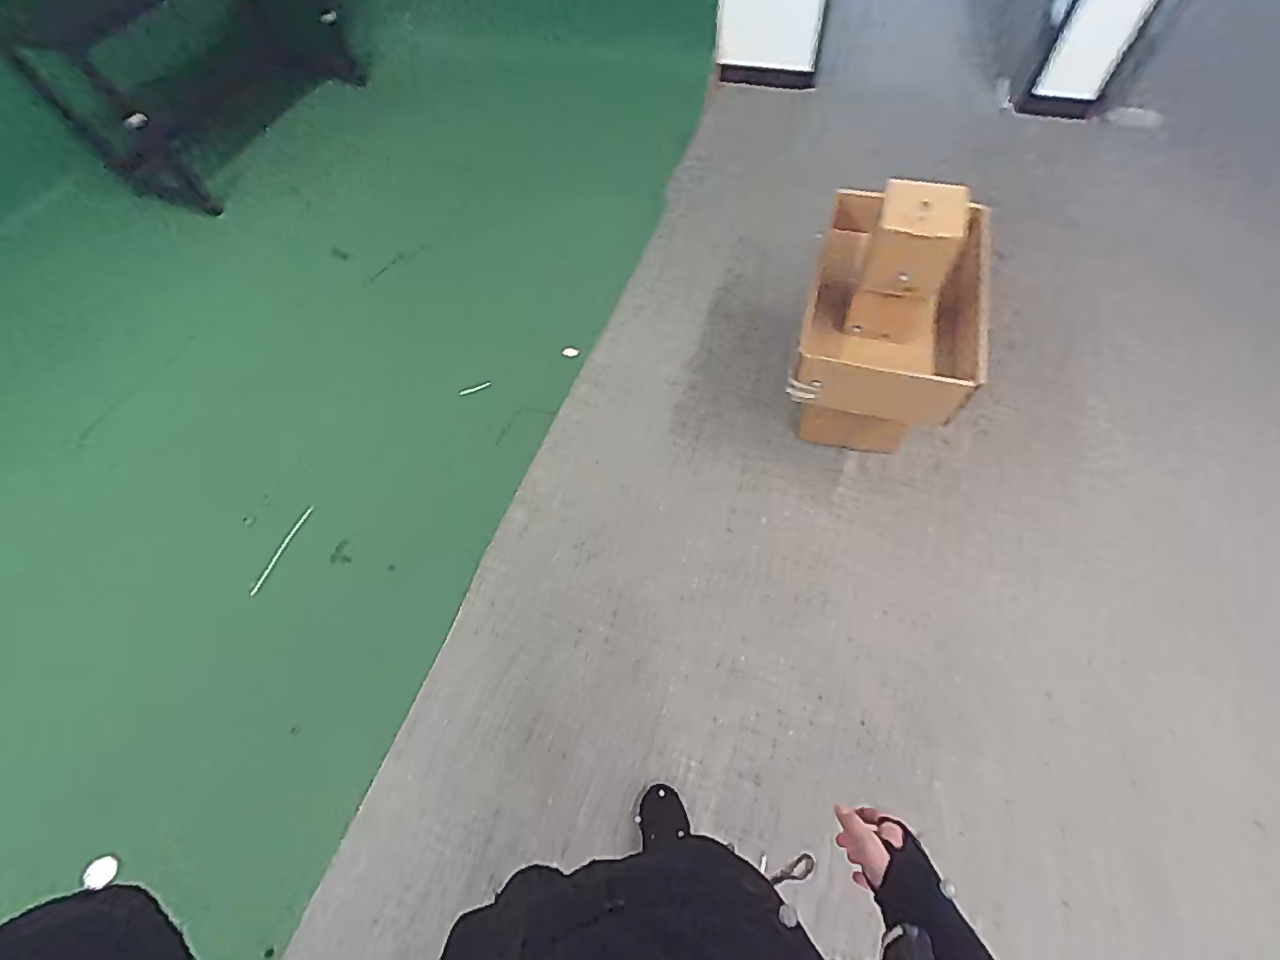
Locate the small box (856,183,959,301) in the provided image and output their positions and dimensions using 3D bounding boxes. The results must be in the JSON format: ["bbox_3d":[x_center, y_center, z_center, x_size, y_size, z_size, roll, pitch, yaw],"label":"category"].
[{"bbox_3d":[0.608,-0.544,1.241,0.168,0.176,0.179,13,64,12],"label":"small box"}]

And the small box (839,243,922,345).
[{"bbox_3d":[0.622,-0.476,1.391,0.168,0.176,0.179,14,63,12],"label":"small box"}]
